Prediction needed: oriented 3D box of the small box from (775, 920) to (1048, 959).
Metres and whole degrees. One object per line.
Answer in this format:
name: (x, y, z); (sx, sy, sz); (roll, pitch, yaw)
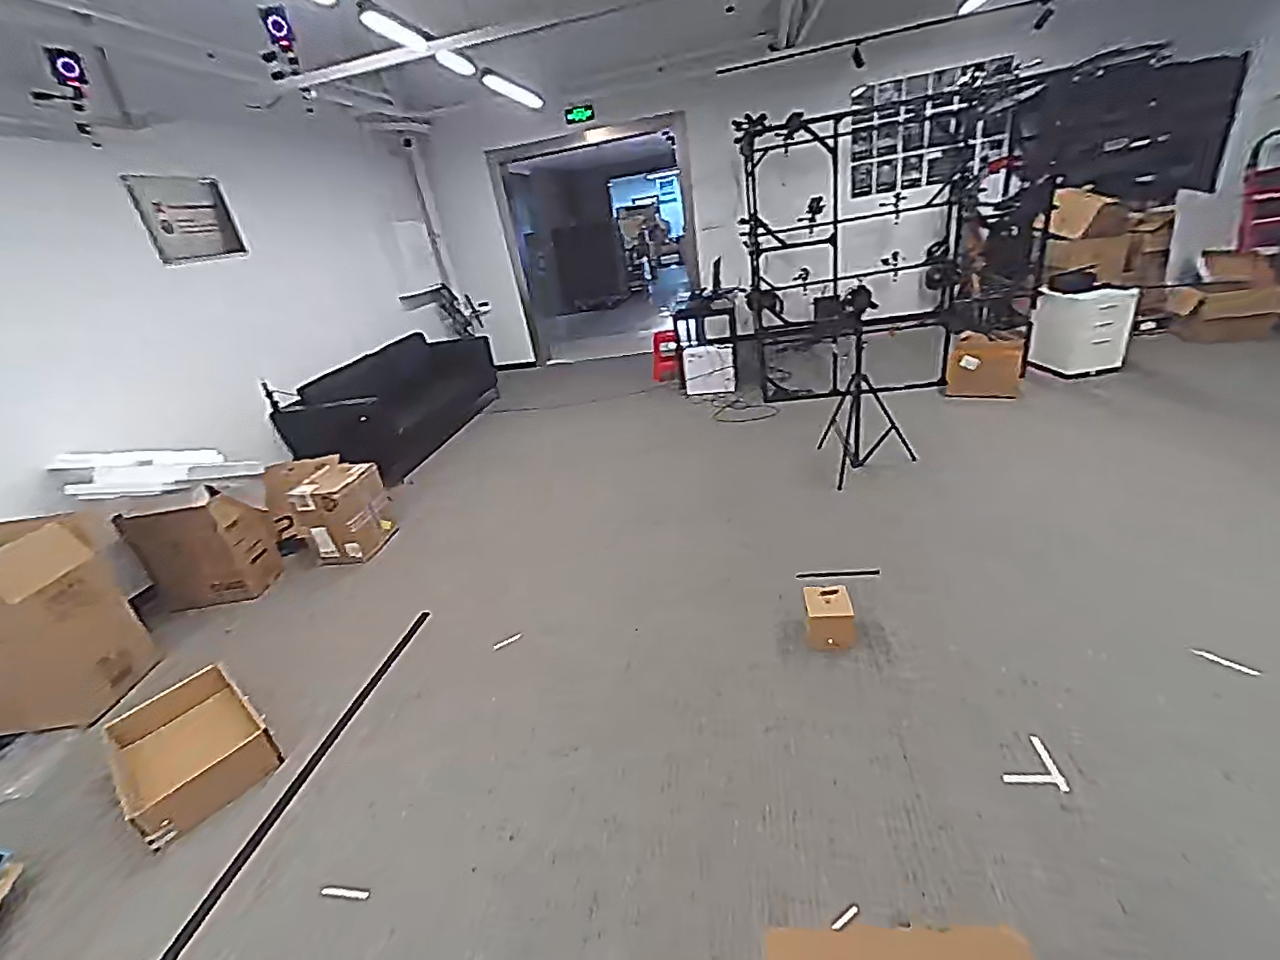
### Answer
small box: (0.193, 0.422, 0.375); (0.179, 0.176, 0.168); (-7, 44, 11)

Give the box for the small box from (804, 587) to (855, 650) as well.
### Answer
small box: (0.740, 0.542, 2.125); (0.168, 0.176, 0.179); (-5, 27, 11)
